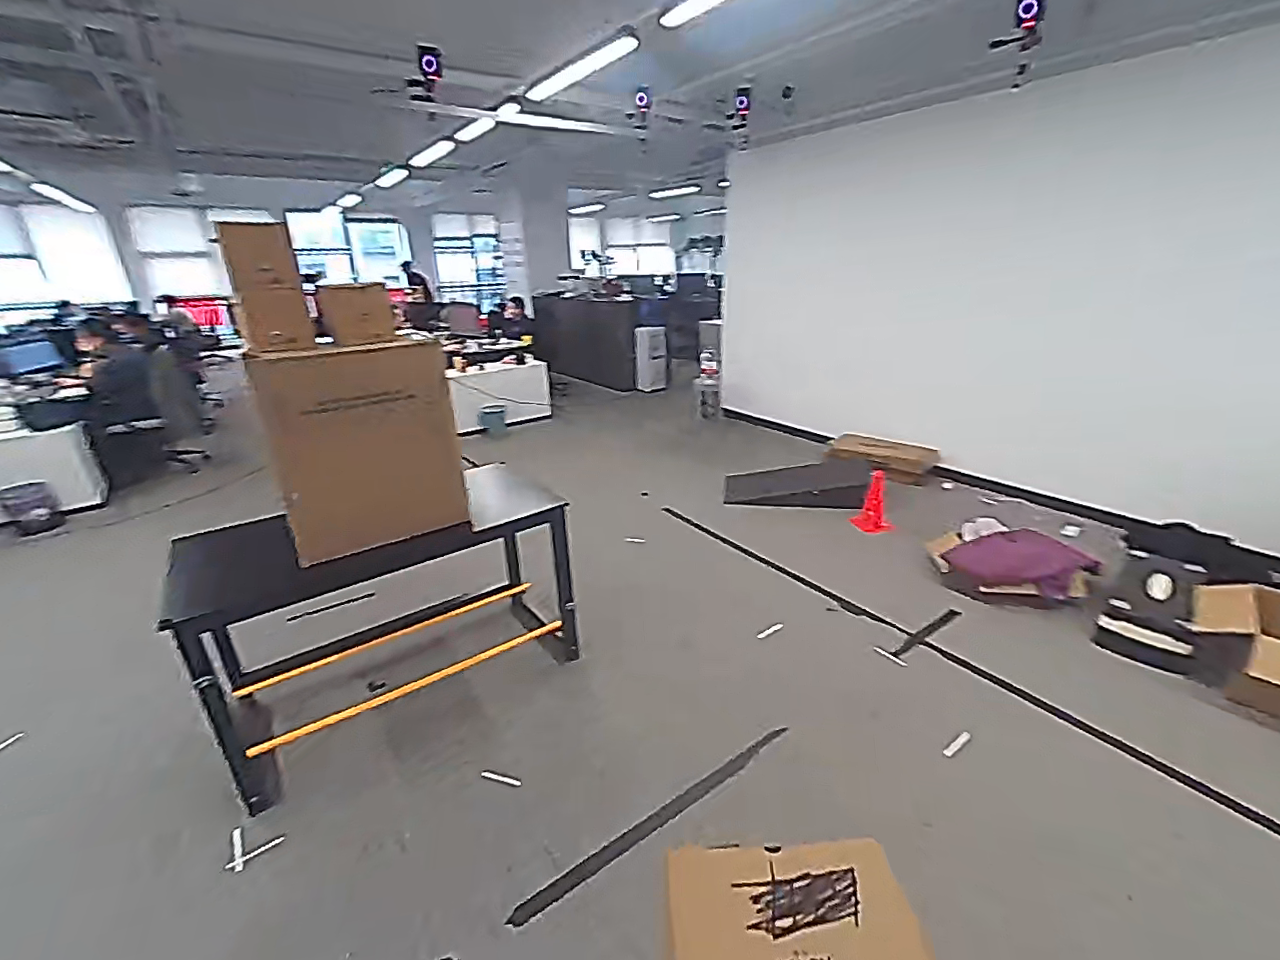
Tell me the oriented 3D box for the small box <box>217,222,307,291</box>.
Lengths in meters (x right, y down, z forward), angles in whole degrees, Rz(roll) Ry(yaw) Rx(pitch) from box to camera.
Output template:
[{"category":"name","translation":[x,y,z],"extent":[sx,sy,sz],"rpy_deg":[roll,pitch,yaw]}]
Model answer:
[{"category":"small box","translation":[-1.053,-0.617,1.507],"extent":[0.168,0.176,0.179],"rpy_deg":[-18,28,-35]}]

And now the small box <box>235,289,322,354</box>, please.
[{"category":"small box","translation":[-1.050,-0.465,1.572],"extent":[0.168,0.176,0.179],"rpy_deg":[-19,30,-37]}]

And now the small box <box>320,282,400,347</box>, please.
[{"category":"small box","translation":[-0.858,-0.509,1.665],"extent":[0.168,0.176,0.179],"rpy_deg":[-19,29,-34]}]
